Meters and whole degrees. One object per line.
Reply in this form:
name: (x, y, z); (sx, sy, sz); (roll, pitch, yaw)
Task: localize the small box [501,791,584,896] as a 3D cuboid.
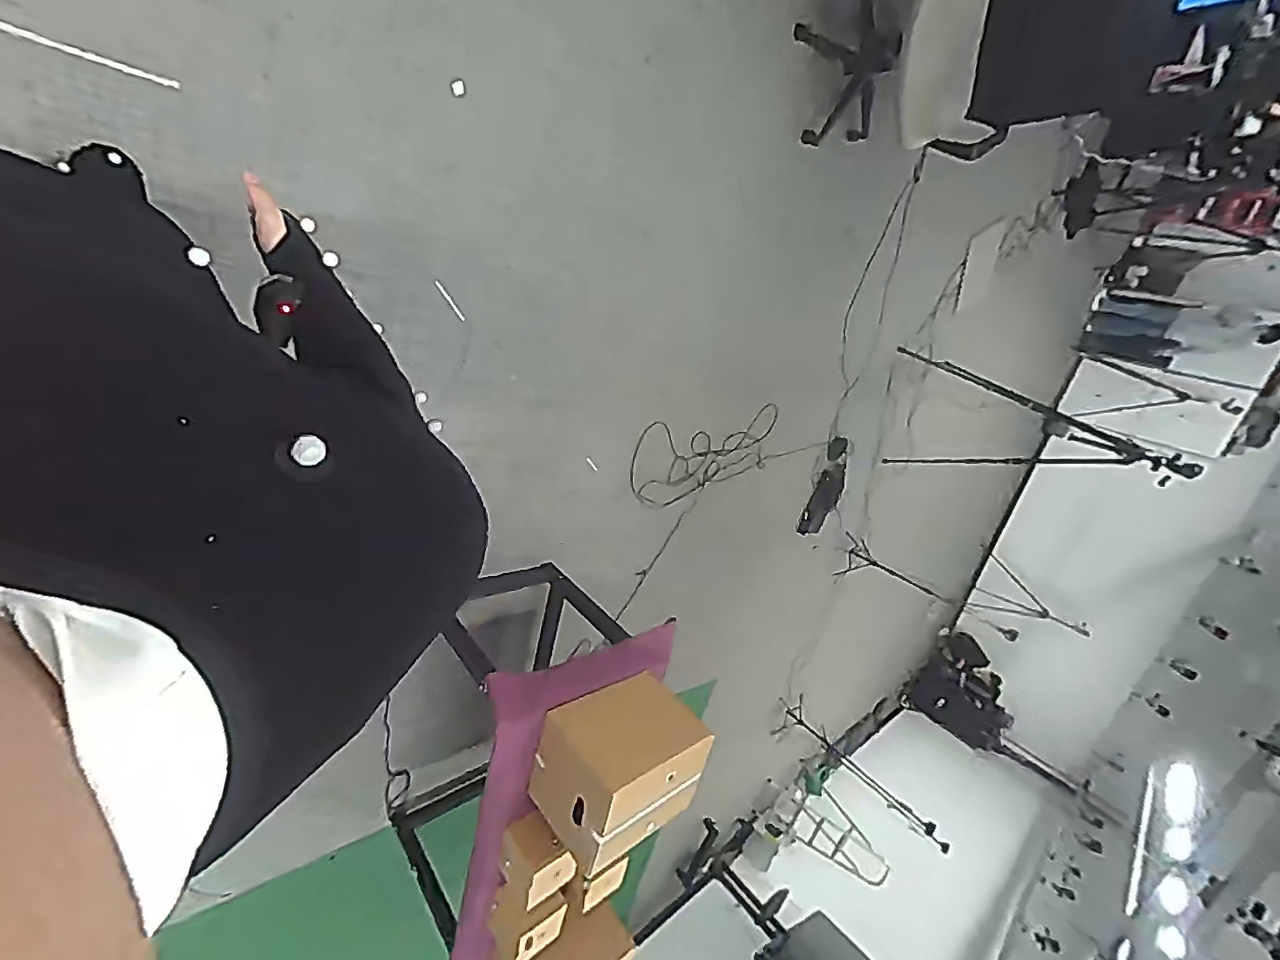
small box: (-0.303, 1.112, 1.671); (0.179, 0.176, 0.168); (-7, 118, -45)

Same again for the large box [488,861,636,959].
large box: (-0.288, 1.705, 1.951); (0.408, 0.320, 0.320); (-3, 114, -44)
